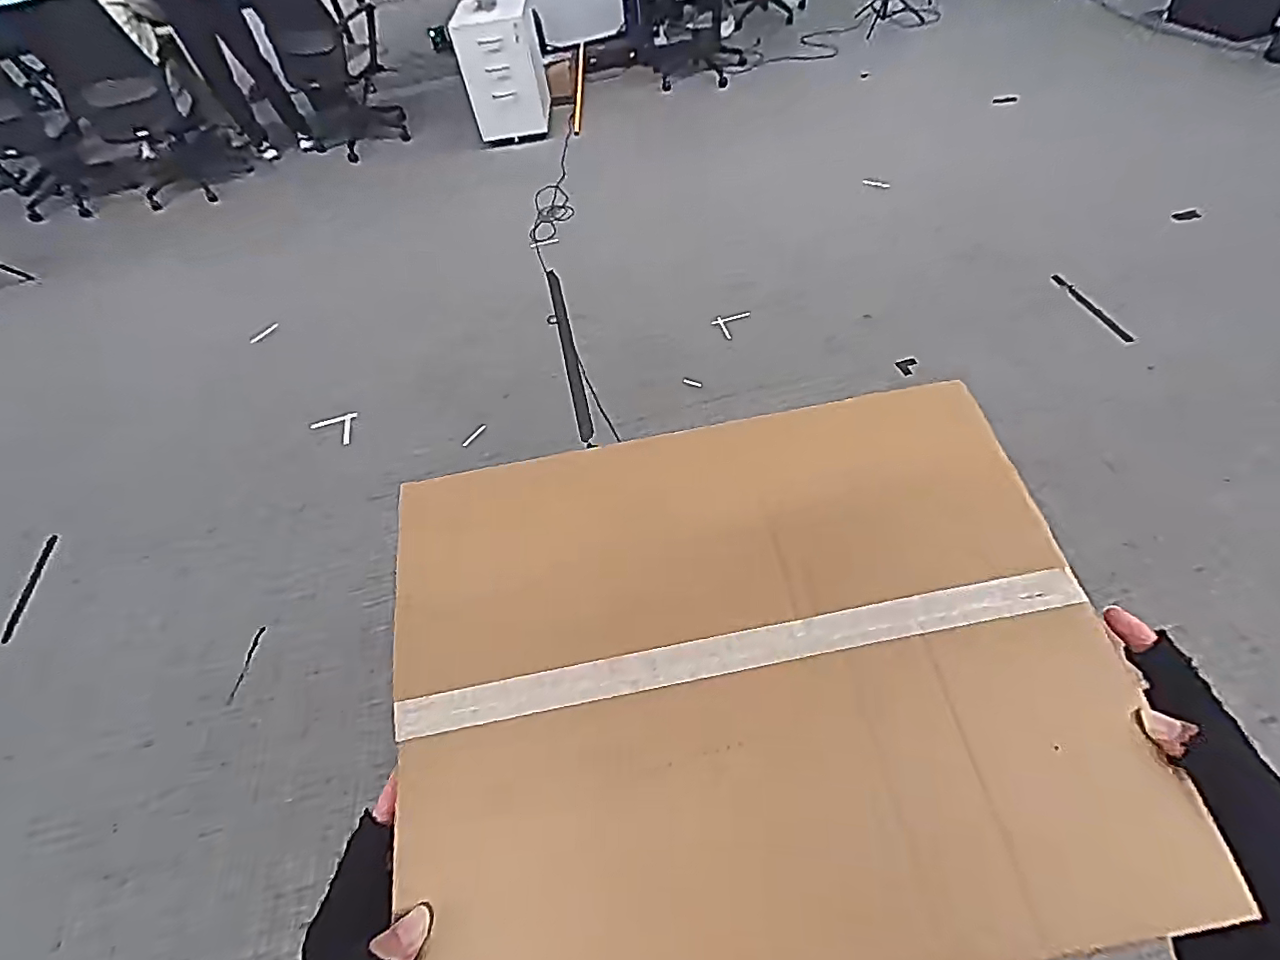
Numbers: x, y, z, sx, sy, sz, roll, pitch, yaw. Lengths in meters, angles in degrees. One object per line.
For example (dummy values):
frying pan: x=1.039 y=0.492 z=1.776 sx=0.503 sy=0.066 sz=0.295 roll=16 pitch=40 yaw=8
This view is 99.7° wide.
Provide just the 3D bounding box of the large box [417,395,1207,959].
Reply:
large box: x=0.070 y=0.176 z=0.461 sx=0.408 sy=0.320 sz=0.320 roll=-11 pitch=64 yaw=-1
